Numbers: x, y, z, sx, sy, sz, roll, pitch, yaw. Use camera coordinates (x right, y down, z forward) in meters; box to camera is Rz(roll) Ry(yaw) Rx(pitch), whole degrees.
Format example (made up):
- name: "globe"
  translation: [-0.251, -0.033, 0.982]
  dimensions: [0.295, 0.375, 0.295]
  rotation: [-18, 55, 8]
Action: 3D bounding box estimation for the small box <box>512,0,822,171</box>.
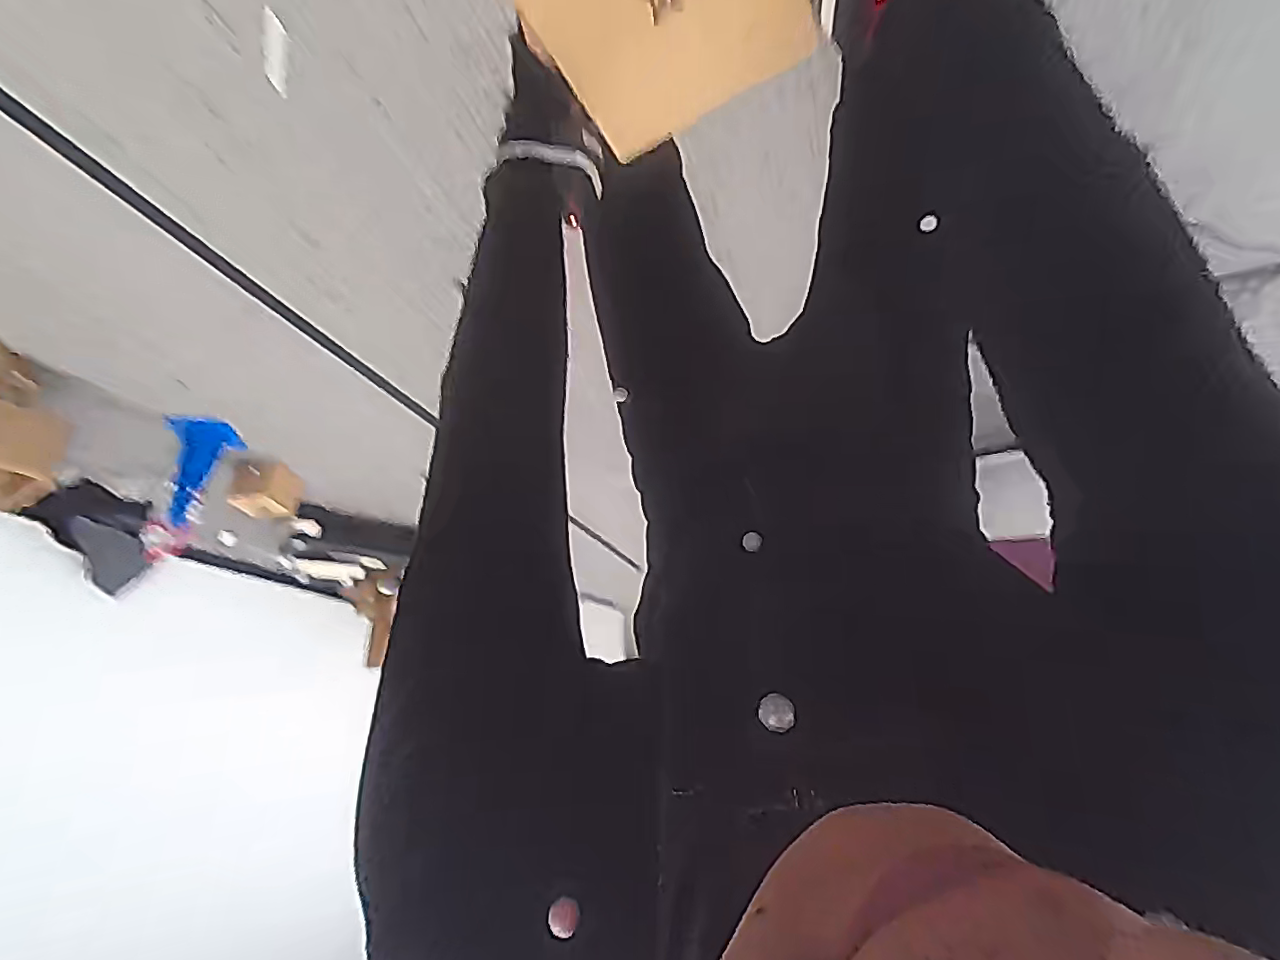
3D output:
- name: "small box"
  translation: [0.015, -0.372, 0.373]
  dimensions: [0.168, 0.176, 0.179]
  rotation: [-14, 152, 26]
